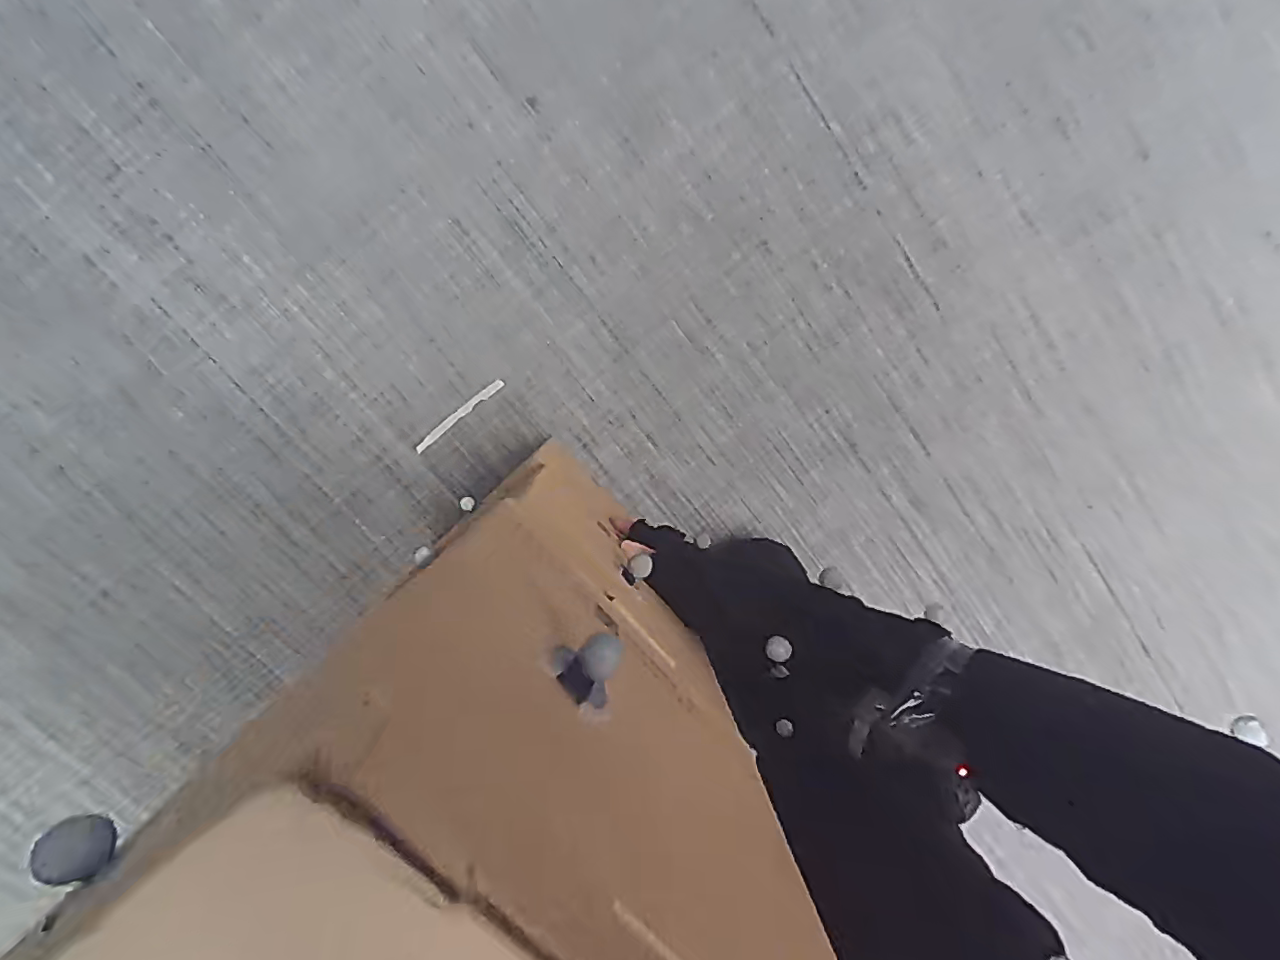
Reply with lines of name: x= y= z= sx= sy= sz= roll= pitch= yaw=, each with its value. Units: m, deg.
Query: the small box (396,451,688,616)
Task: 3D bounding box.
small box: x=-0.085 y=0.091 z=0.495 sx=0.168 sy=0.176 sz=0.179 roll=44 pitch=93 yaw=-10

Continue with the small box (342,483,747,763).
small box: x=-0.068 y=0.121 z=0.334 sx=0.179 sy=0.176 sz=0.168 roll=-41 pitch=98 yaw=2
